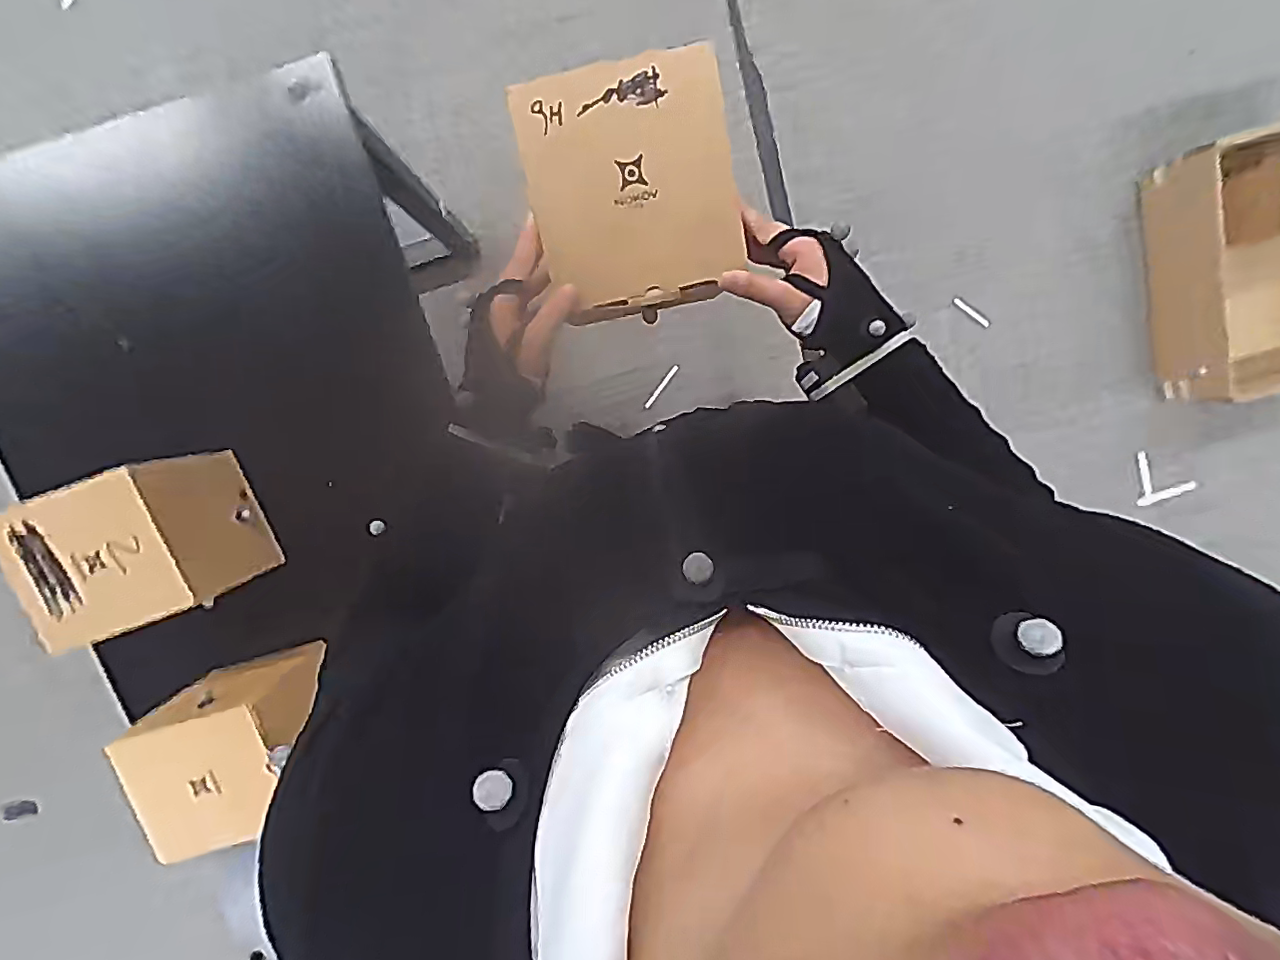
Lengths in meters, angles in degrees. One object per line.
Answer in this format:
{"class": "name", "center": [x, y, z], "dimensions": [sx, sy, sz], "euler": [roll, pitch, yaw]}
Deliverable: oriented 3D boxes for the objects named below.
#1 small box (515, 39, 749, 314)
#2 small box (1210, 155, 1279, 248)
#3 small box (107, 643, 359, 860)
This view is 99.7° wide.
{"class": "small box", "center": [-0.004, -0.258, 0.509], "dimensions": [0.168, 0.176, 0.179], "euler": [-11, 104, 1]}
{"class": "small box", "center": [1.552, -0.690, 1.315], "dimensions": [0.168, 0.176, 0.179], "euler": [-15, 100, 3]}
{"class": "small box", "center": [-0.513, 0.342, 0.710], "dimensions": [0.179, 0.176, 0.168], "euler": [-16, 99, 0]}
